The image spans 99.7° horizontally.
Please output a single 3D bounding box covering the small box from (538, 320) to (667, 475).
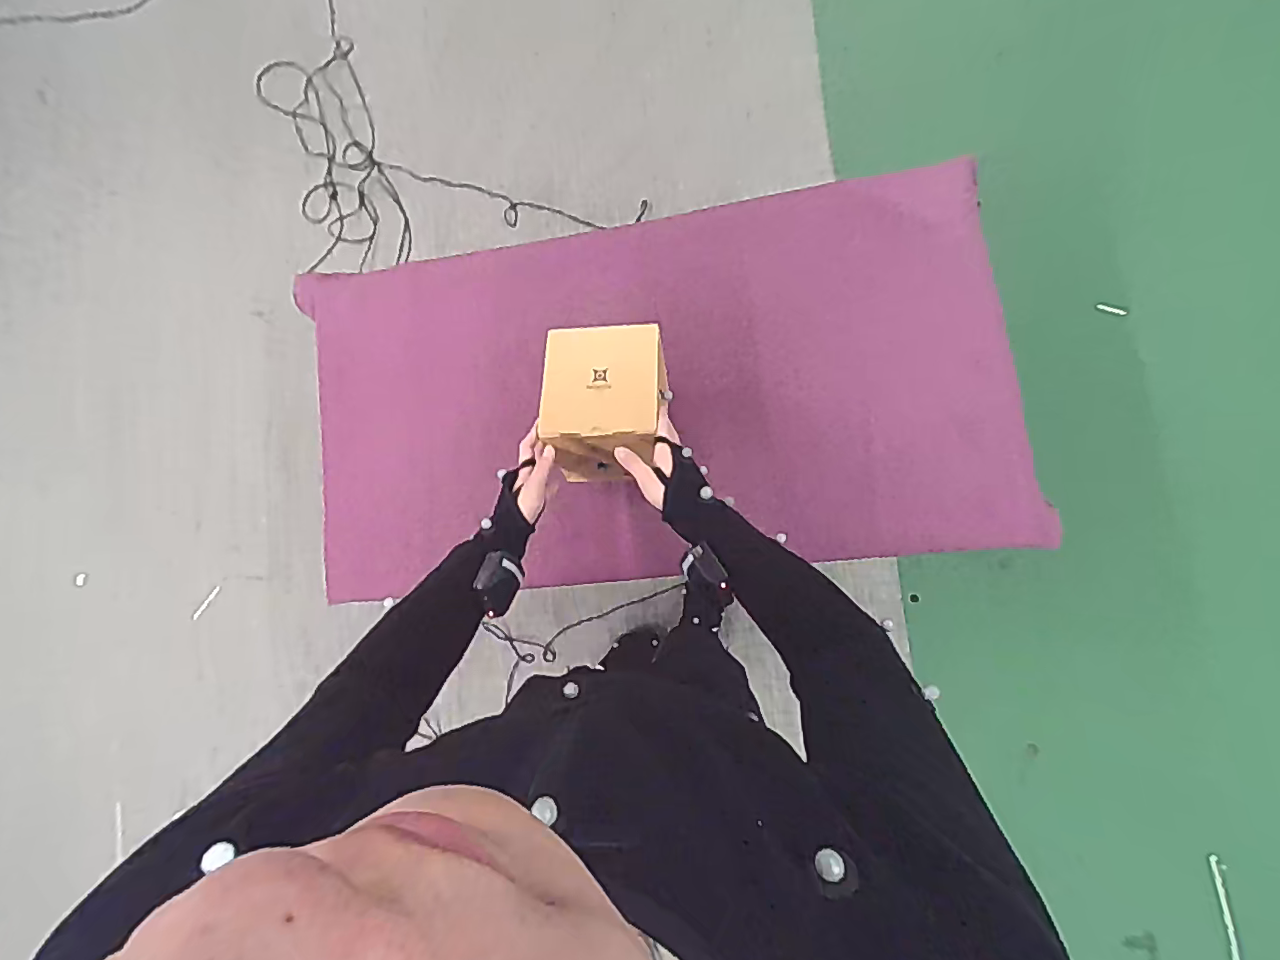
[{"bbox_3d":[-0.046,-0.117,0.816,0.168,0.176,0.179,-1,70,6],"label":"small box"}]
